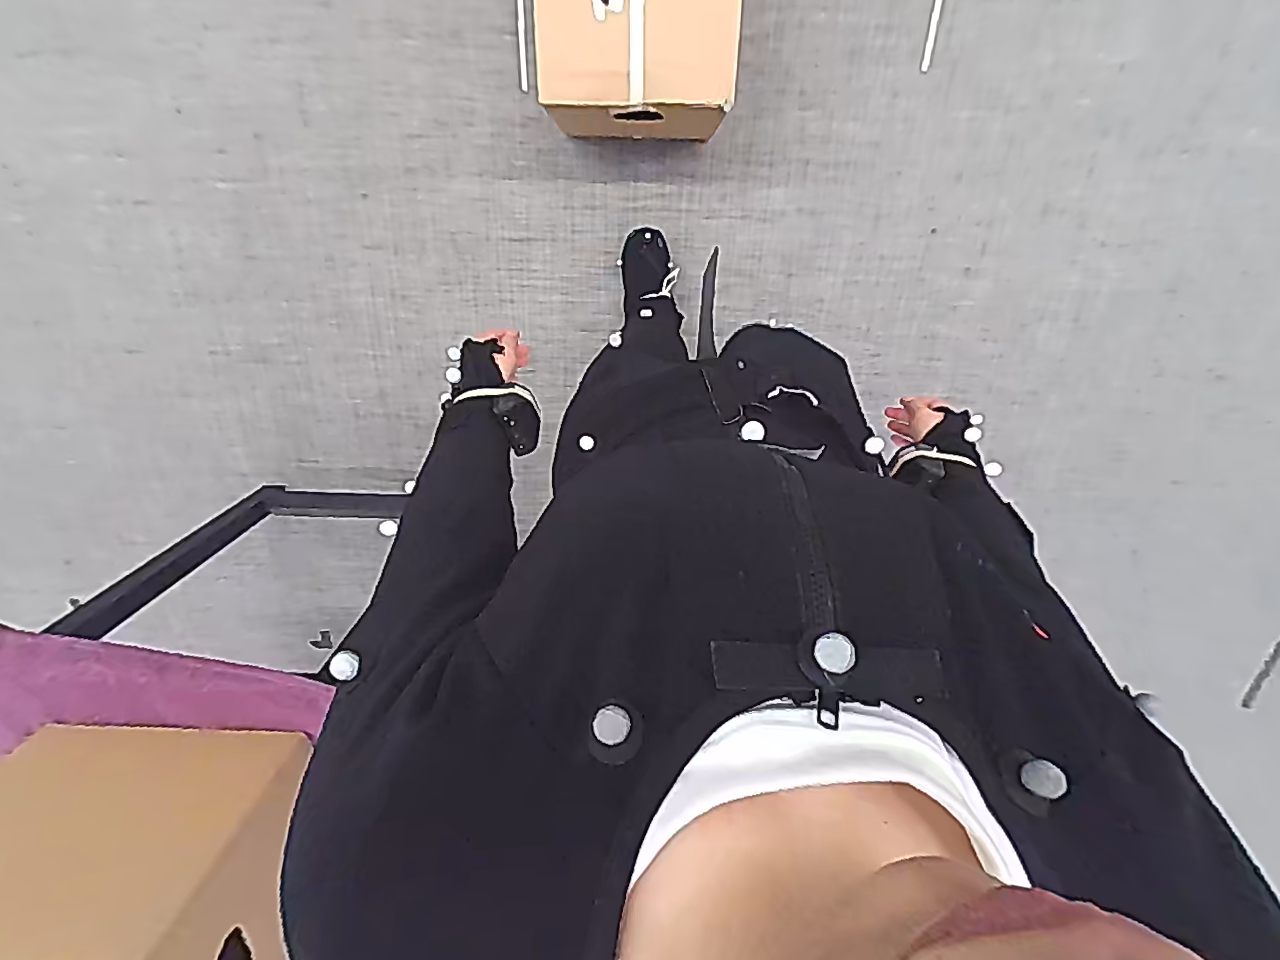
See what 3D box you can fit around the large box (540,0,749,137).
[{"bbox_3d":[0.006,-0.832,0.905,0.320,0.320,0.408,1,115,1],"label":"large box"}]
